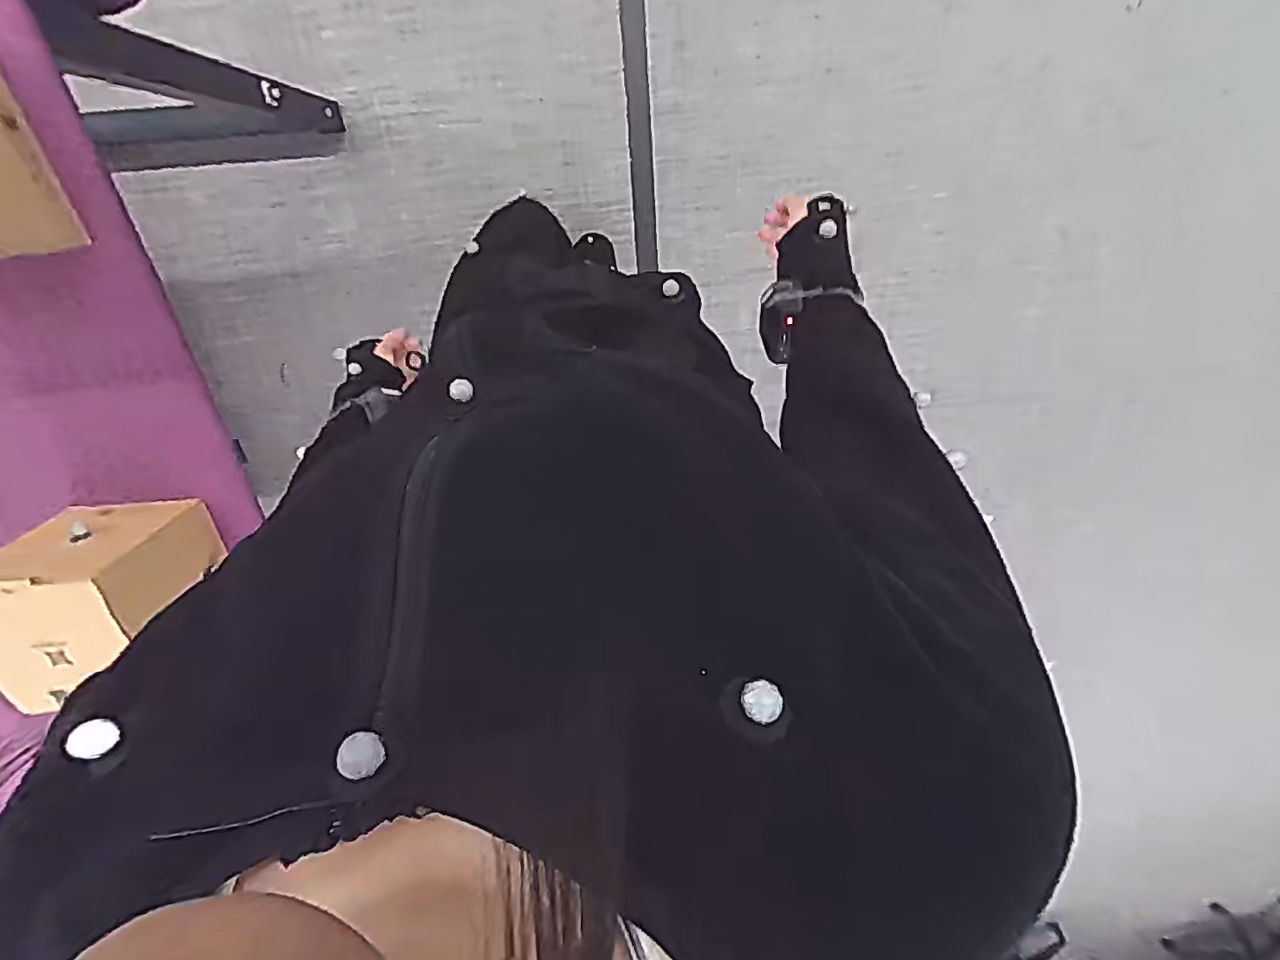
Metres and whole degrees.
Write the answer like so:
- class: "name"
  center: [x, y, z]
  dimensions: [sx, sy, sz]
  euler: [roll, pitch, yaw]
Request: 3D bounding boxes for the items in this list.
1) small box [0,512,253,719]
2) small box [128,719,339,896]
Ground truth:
- class: "small box"
  center: [-0.612, 0.147, 0.640]
  dimensions: [0.168, 0.176, 0.179]
  euler: [-4, 117, -2]
- class: "small box"
  center: [-0.586, 0.485, 0.816]
  dimensions: [0.179, 0.176, 0.168]
  euler: [-4, 116, 0]
